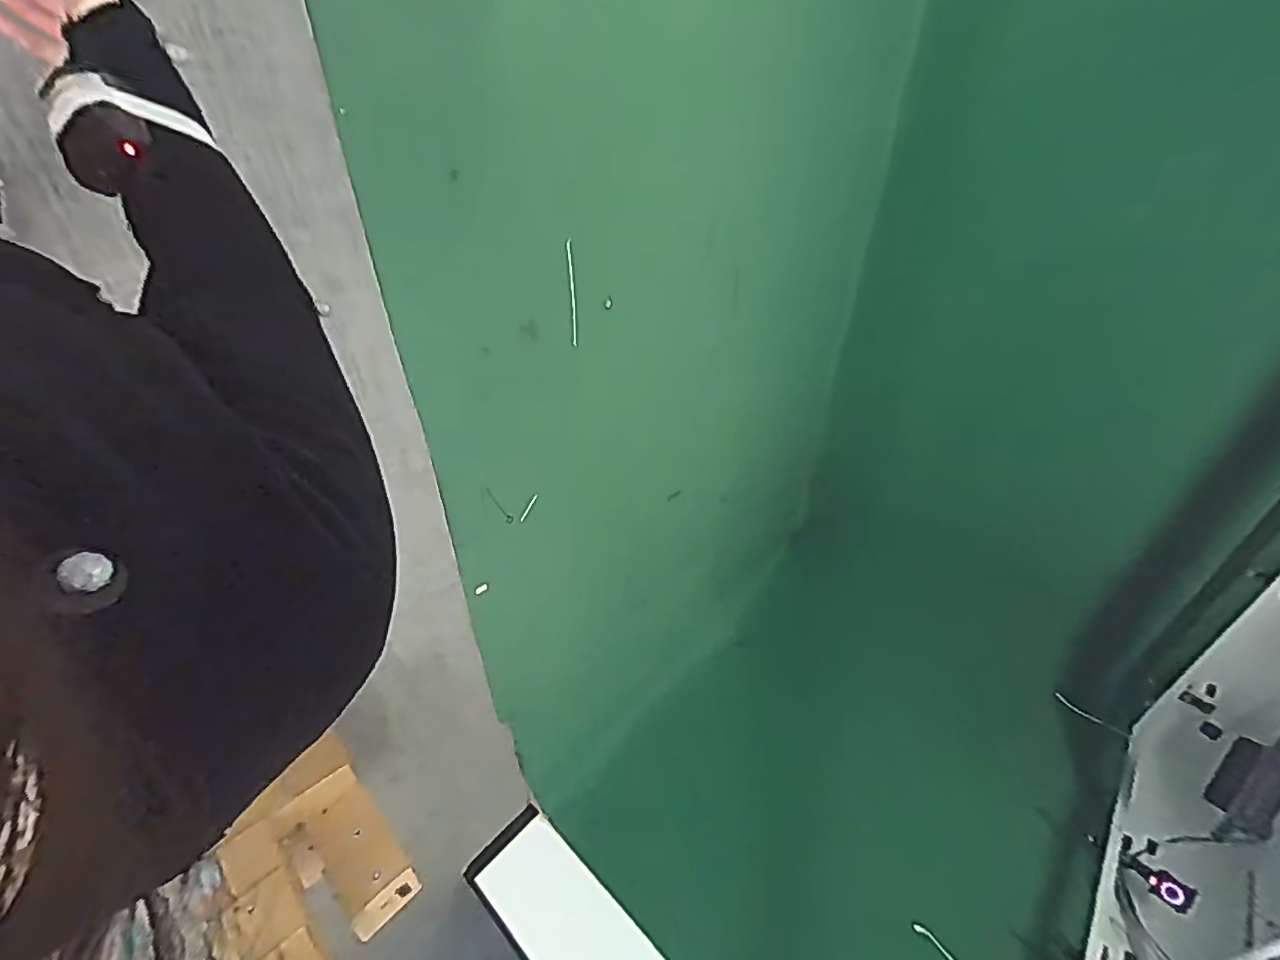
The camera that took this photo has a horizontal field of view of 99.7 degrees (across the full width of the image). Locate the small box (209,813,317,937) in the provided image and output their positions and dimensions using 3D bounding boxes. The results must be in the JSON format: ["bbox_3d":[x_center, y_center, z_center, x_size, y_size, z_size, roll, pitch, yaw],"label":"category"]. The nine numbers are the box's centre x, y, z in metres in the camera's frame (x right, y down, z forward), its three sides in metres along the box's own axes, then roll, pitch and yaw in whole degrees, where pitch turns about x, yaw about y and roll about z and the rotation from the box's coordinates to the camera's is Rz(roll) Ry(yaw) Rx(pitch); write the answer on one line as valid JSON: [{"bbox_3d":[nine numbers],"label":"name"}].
[{"bbox_3d":[-1.003,1.040,1.433,0.179,0.176,0.168,-32,138,-37],"label":"small box"}]

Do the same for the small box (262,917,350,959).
[{"bbox_3d":[-0.767,1.168,1.246,0.168,0.176,0.179,-30,136,-38],"label":"small box"}]

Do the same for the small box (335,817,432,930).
[{"bbox_3d":[-0.734,1.119,1.551,0.179,0.176,0.168,-33,138,-38],"label":"small box"}]
